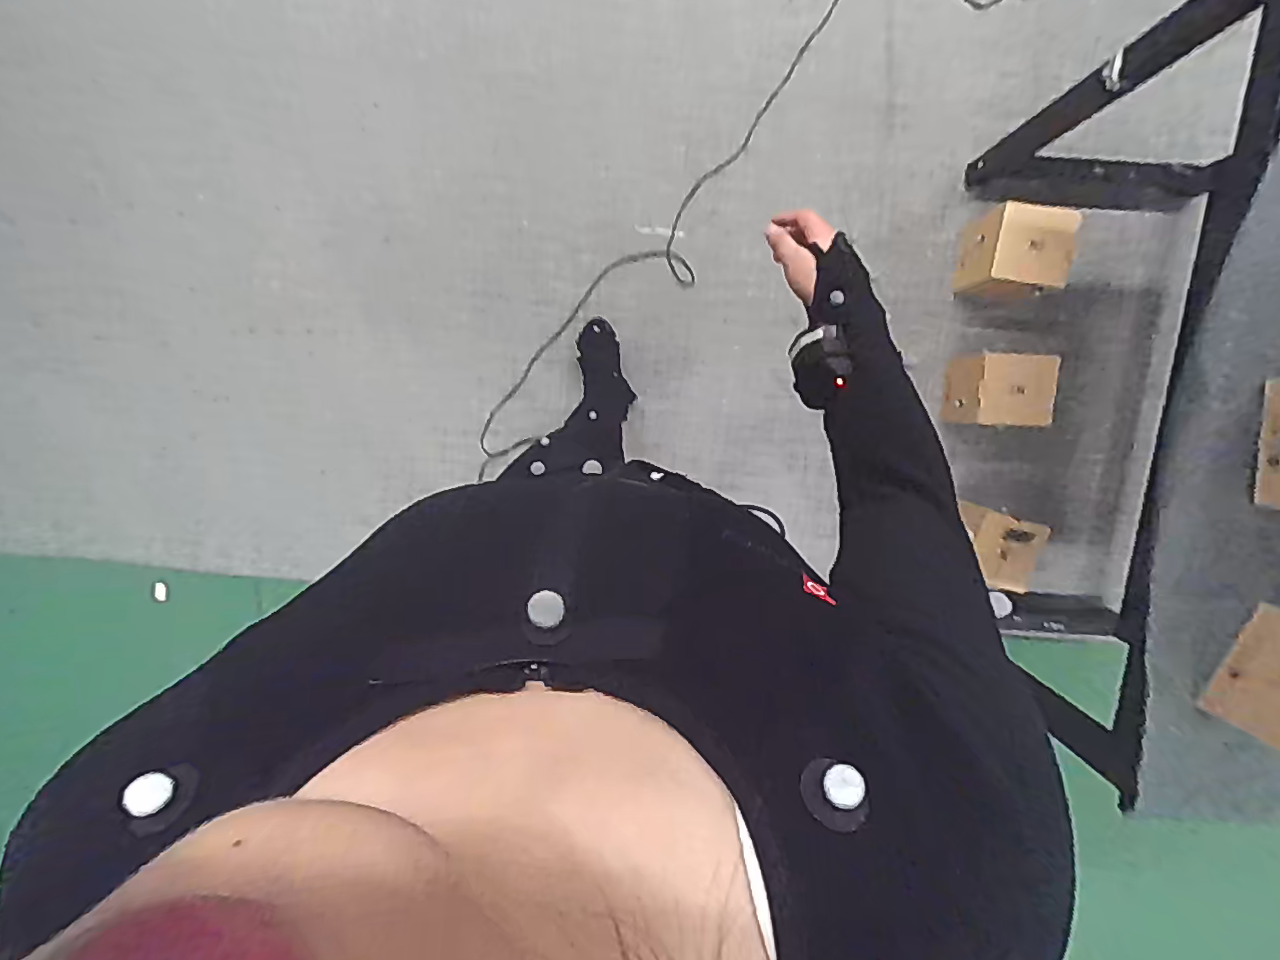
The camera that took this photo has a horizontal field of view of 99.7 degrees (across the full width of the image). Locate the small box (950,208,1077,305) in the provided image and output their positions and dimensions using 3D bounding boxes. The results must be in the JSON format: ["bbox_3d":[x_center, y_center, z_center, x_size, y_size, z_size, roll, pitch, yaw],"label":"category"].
[{"bbox_3d":[0.884,-0.528,1.299,0.179,0.176,0.168,8,98,-1],"label":"small box"}]

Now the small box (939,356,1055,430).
[{"bbox_3d":[0.873,-0.213,1.340,0.179,0.176,0.168,2,98,-1],"label":"small box"}]

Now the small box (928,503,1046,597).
[{"bbox_3d":[0.880,0.172,1.393,0.168,0.176,0.179,17,99,-2],"label":"small box"}]

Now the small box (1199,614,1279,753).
[{"bbox_3d":[0.879,0.289,0.671,0.179,0.176,0.168,24,97,-5],"label":"small box"}]
